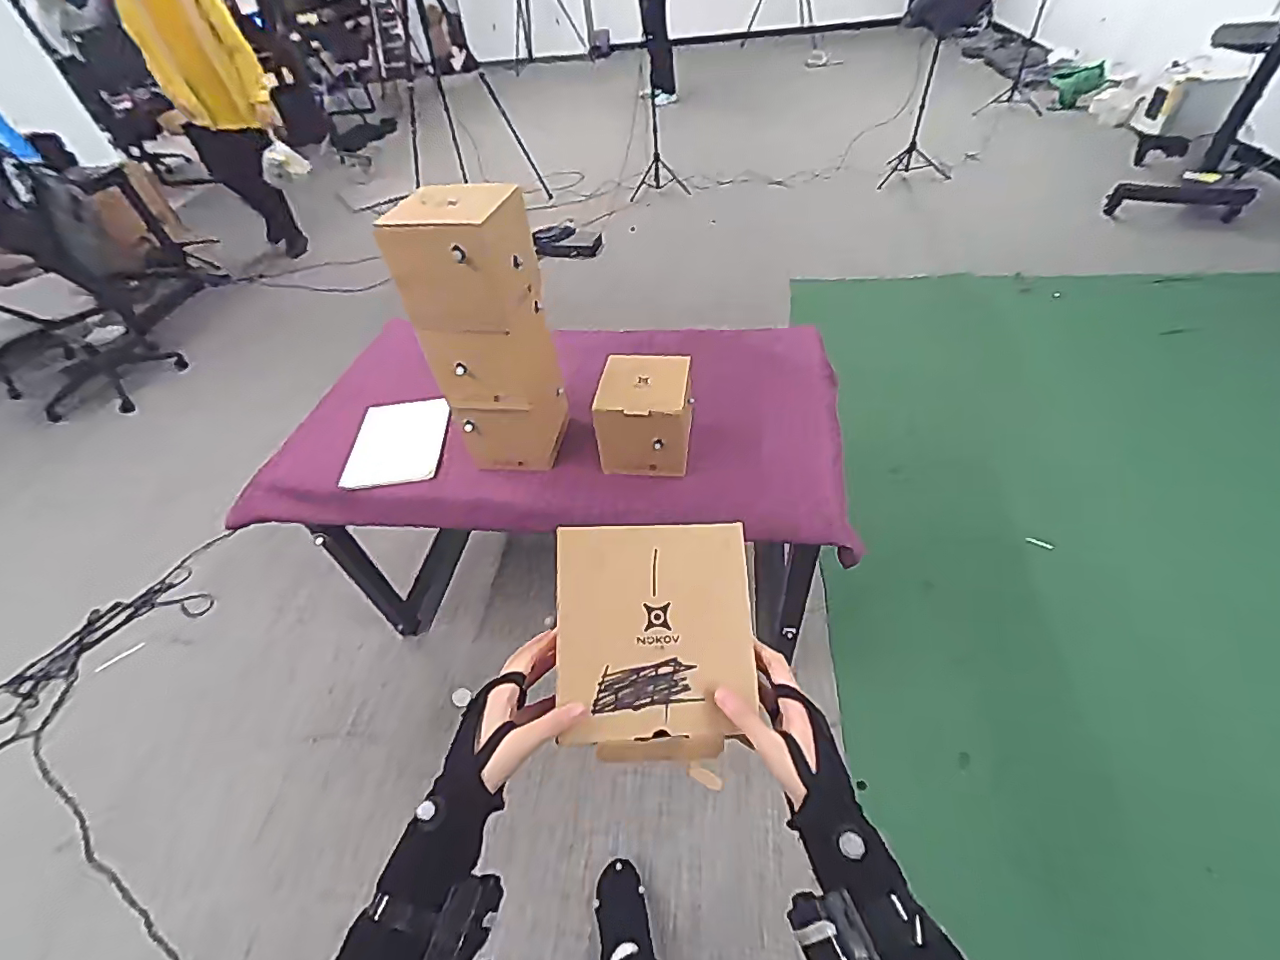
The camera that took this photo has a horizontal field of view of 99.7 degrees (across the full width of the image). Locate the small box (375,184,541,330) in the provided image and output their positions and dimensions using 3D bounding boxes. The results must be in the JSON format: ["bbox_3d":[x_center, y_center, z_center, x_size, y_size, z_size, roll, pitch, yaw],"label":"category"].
[{"bbox_3d":[-0.274,-0.355,0.868,0.179,0.176,0.168,4,46,11],"label":"small box"}]

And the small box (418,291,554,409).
[{"bbox_3d":[-0.267,-0.246,0.992,0.168,0.176,0.179,3,46,10],"label":"small box"}]

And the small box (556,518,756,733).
[{"bbox_3d":[0.008,0.138,0.534,0.168,0.176,0.179,0,74,-5],"label":"small box"}]

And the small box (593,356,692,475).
[{"bbox_3d":[0.015,-0.126,1.071,0.168,0.176,0.179,3,46,9],"label":"small box"}]
